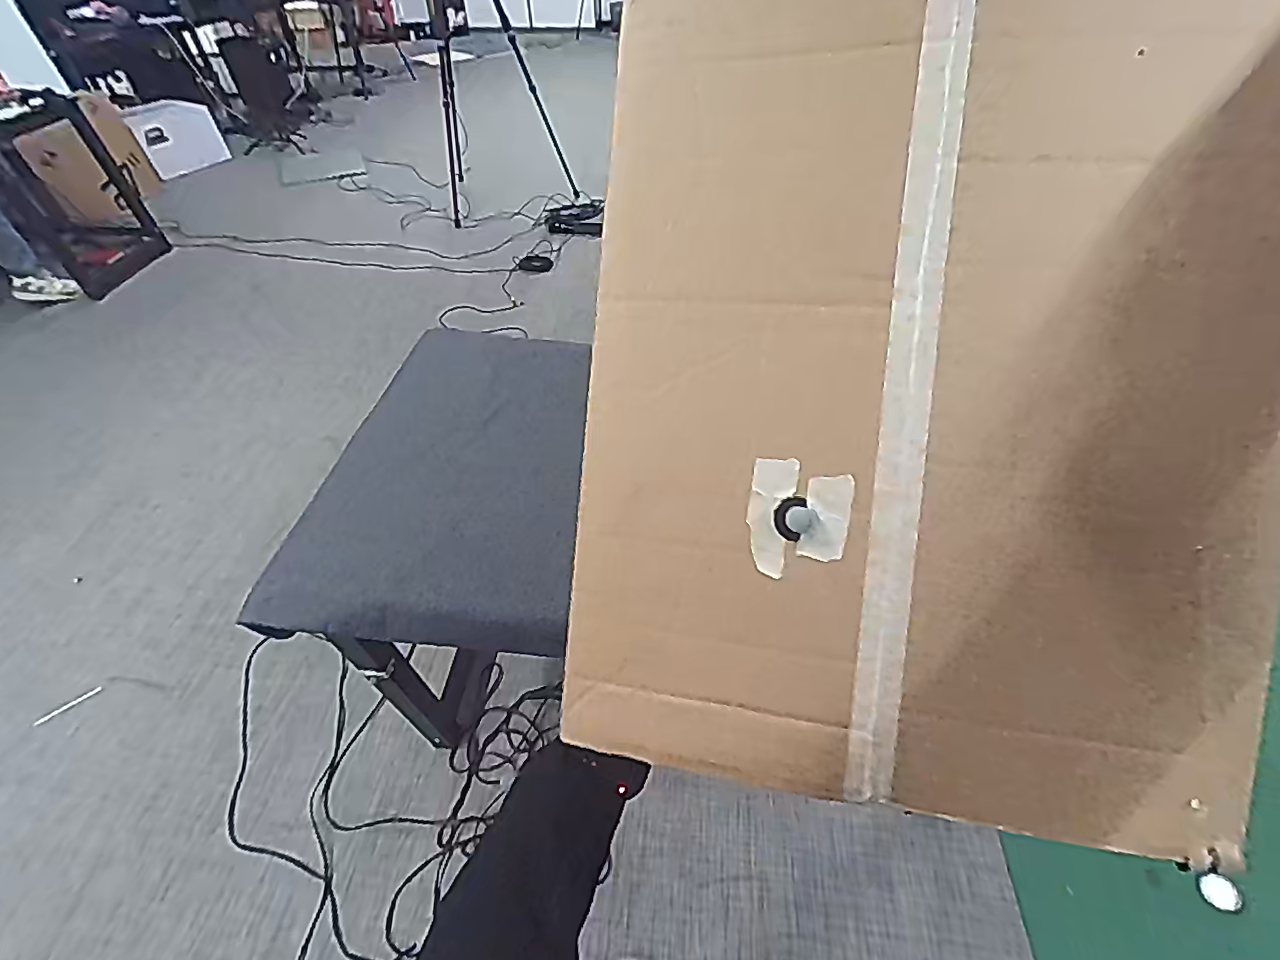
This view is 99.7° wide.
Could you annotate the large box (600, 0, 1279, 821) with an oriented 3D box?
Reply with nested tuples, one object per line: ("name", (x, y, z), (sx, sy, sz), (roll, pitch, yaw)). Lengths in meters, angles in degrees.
("large box", (0.163, -0.049, 0.422), (0.320, 0.408, 0.320), (5, 4, 11))
